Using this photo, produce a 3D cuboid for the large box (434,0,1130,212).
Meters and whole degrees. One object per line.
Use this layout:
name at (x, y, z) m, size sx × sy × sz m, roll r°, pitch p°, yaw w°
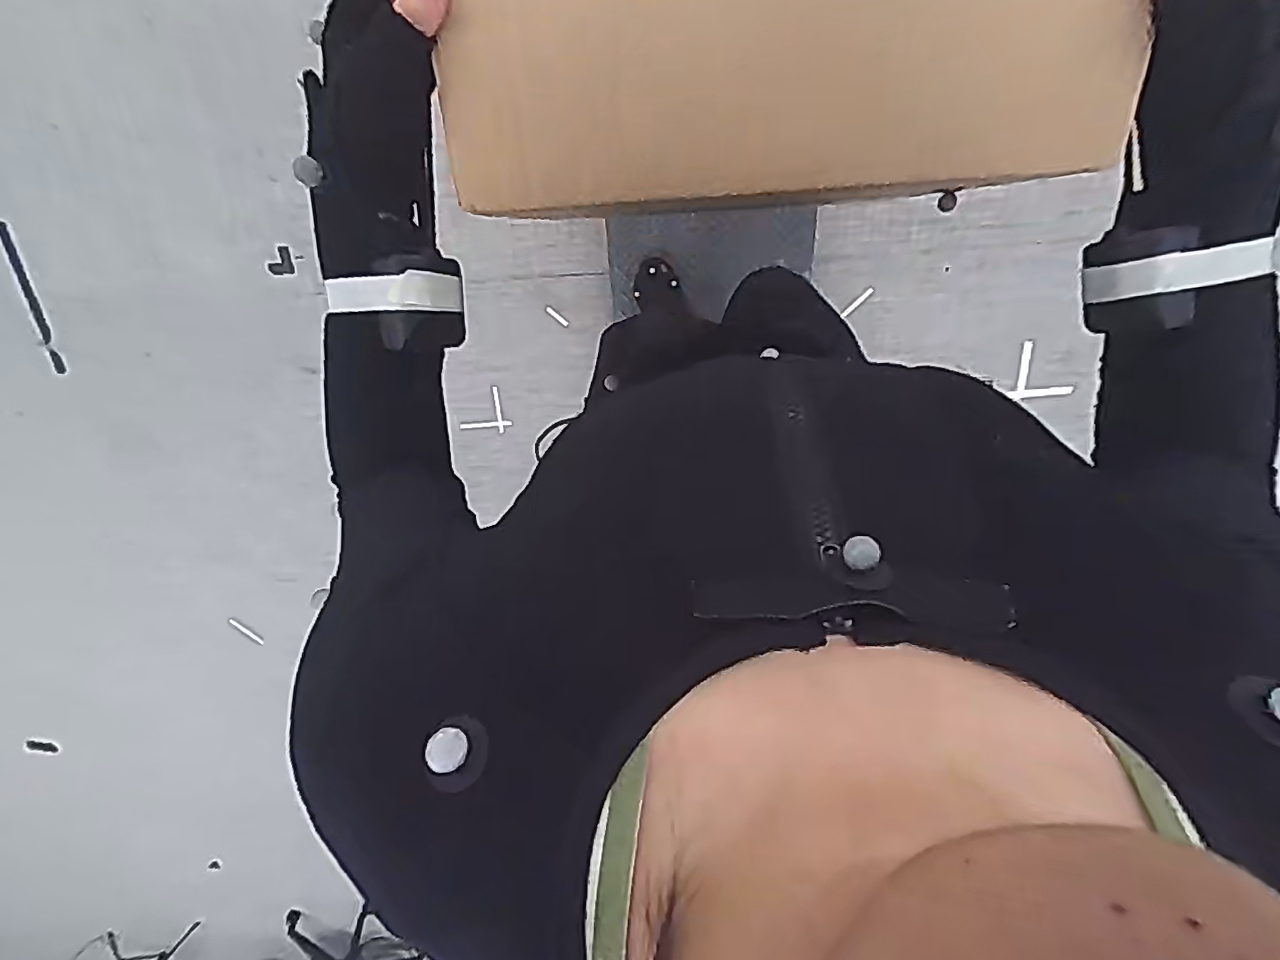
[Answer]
large box at (0.080, -0.393, 0.418) m, size 0.408 × 0.320 × 0.320 m, roll -2°, pitch 115°, yaw 3°
